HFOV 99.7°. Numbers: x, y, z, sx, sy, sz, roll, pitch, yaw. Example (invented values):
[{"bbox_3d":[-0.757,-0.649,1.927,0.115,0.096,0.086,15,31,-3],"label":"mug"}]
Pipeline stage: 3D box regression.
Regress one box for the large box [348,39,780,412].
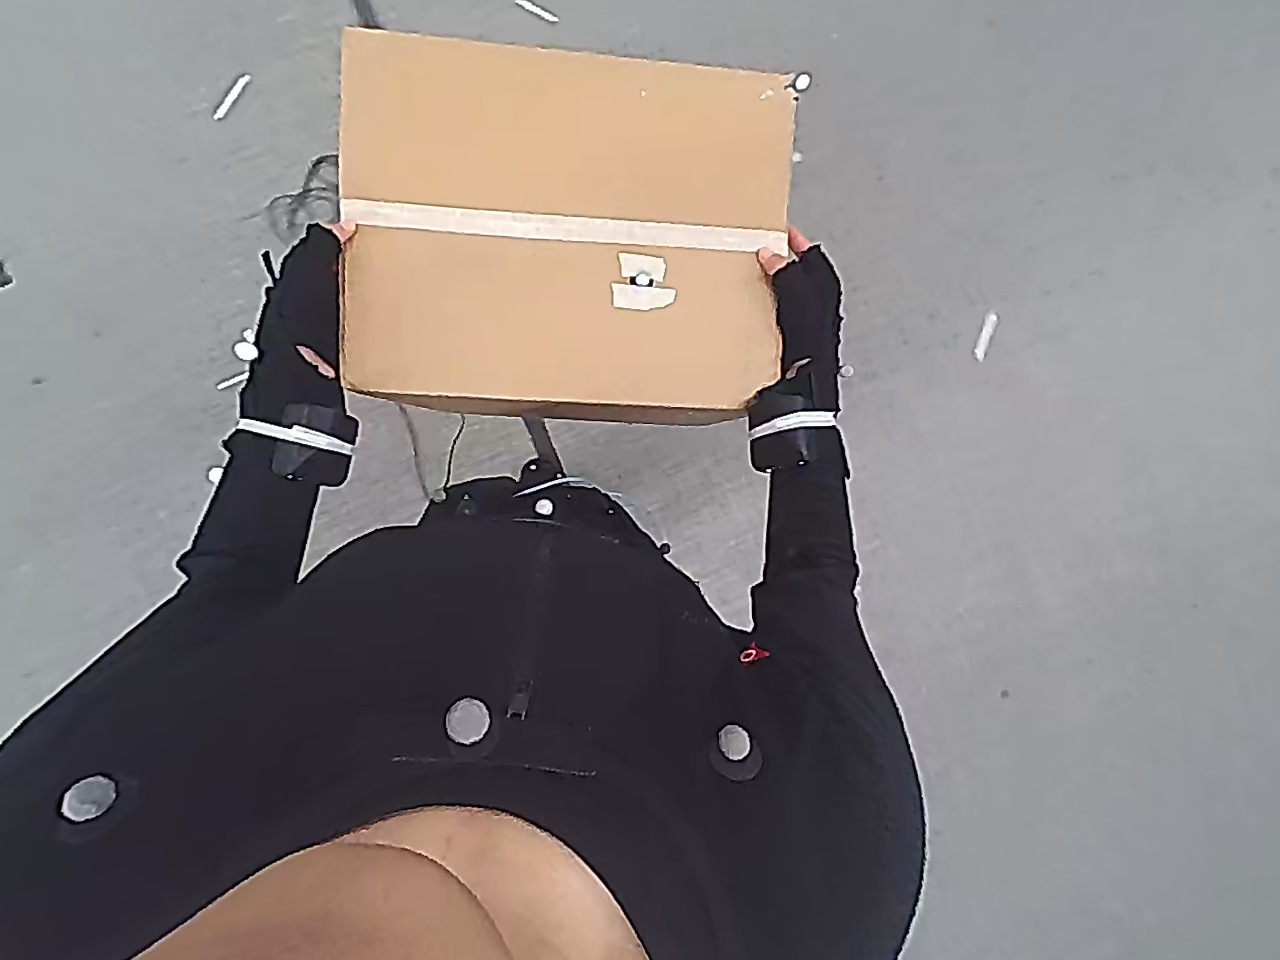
[{"bbox_3d":[-0.082,-0.248,0.656,0.408,0.320,0.320,2,95,-6],"label":"large box"}]
